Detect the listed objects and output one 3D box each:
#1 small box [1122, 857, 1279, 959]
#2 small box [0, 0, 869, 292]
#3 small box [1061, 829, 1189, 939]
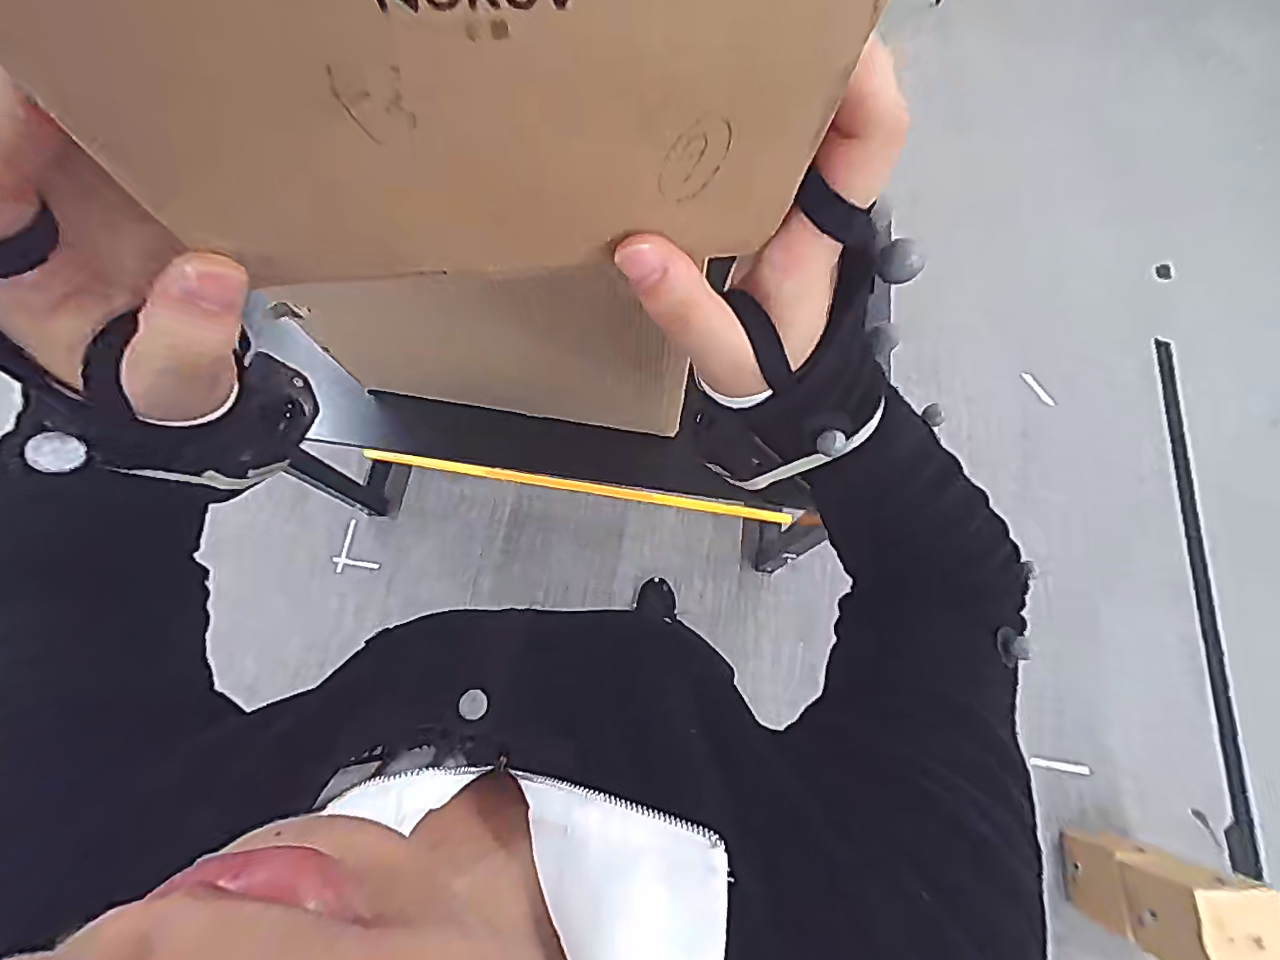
[{"bbox_3d":[1.136,0.878,1.081,0.179,0.176,0.168,1,71,0],"label":"small box"},{"bbox_3d":[-0.047,-0.167,0.111,0.168,0.179,0.176,-8,75,-8],"label":"small box"},{"bbox_3d":[1.123,0.924,1.240,0.179,0.176,0.168,5,71,2],"label":"small box"}]
